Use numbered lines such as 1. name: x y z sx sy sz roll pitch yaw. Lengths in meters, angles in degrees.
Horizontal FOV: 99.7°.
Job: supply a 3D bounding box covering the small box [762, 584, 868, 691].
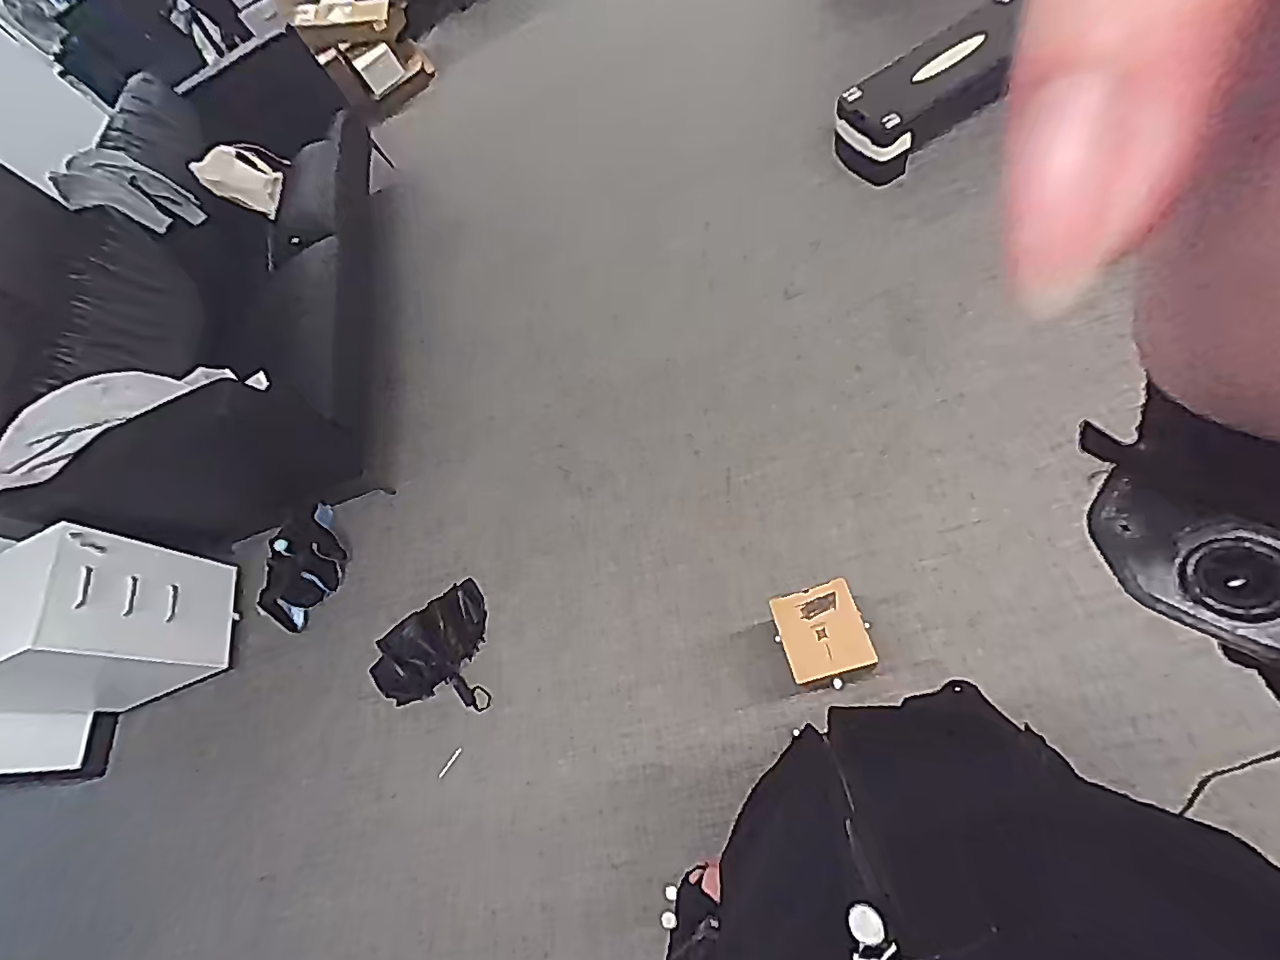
1. small box: 0.375 0.346 1.168 0.168 0.176 0.179 -20 62 12
